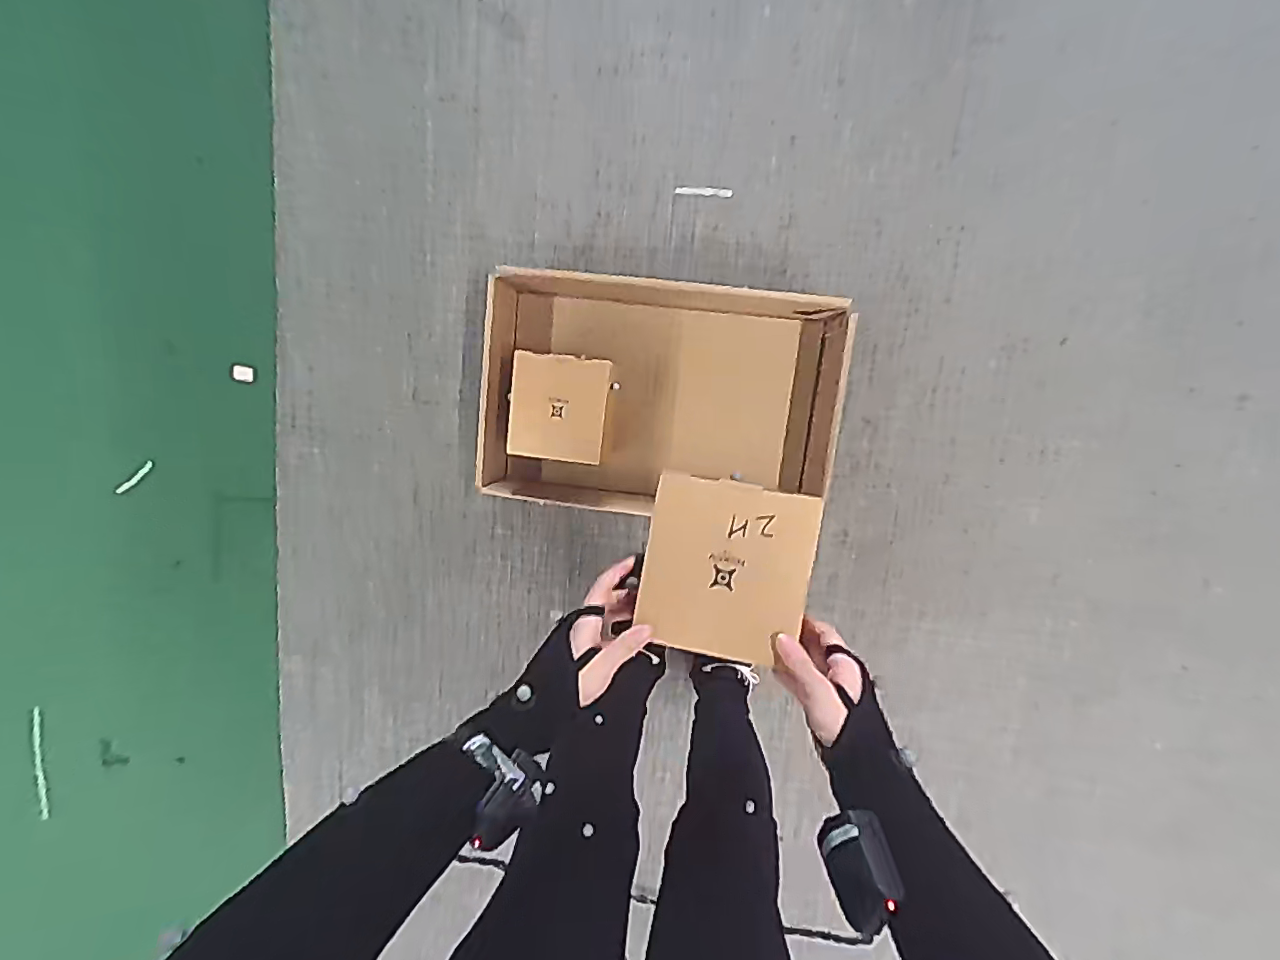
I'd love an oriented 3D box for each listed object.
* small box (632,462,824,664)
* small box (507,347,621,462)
[{"bbox_3d":[0.096,0.083,0.619,0.168,0.176,0.179,11,90,6],"label":"small box"},{"bbox_3d":[-0.131,-0.138,0.983,0.168,0.176,0.179,8,98,4],"label":"small box"}]
